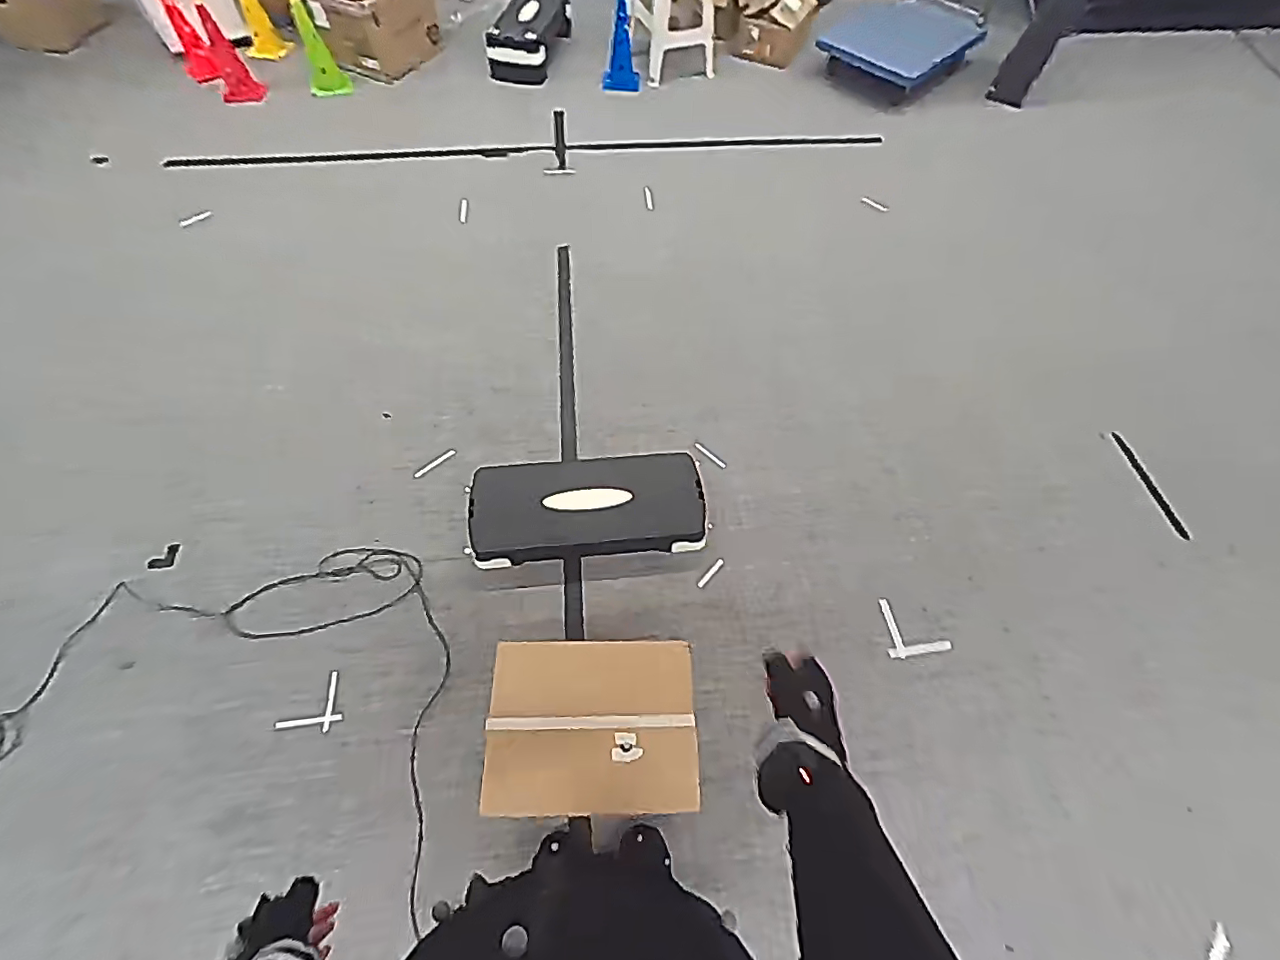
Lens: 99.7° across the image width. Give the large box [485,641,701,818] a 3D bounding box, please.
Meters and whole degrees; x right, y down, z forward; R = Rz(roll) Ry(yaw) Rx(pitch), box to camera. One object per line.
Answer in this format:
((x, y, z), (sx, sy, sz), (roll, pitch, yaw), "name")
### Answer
((-0.097, 0.550, 1.186), (0.408, 0.320, 0.320), (1, 60, -3), "large box")
